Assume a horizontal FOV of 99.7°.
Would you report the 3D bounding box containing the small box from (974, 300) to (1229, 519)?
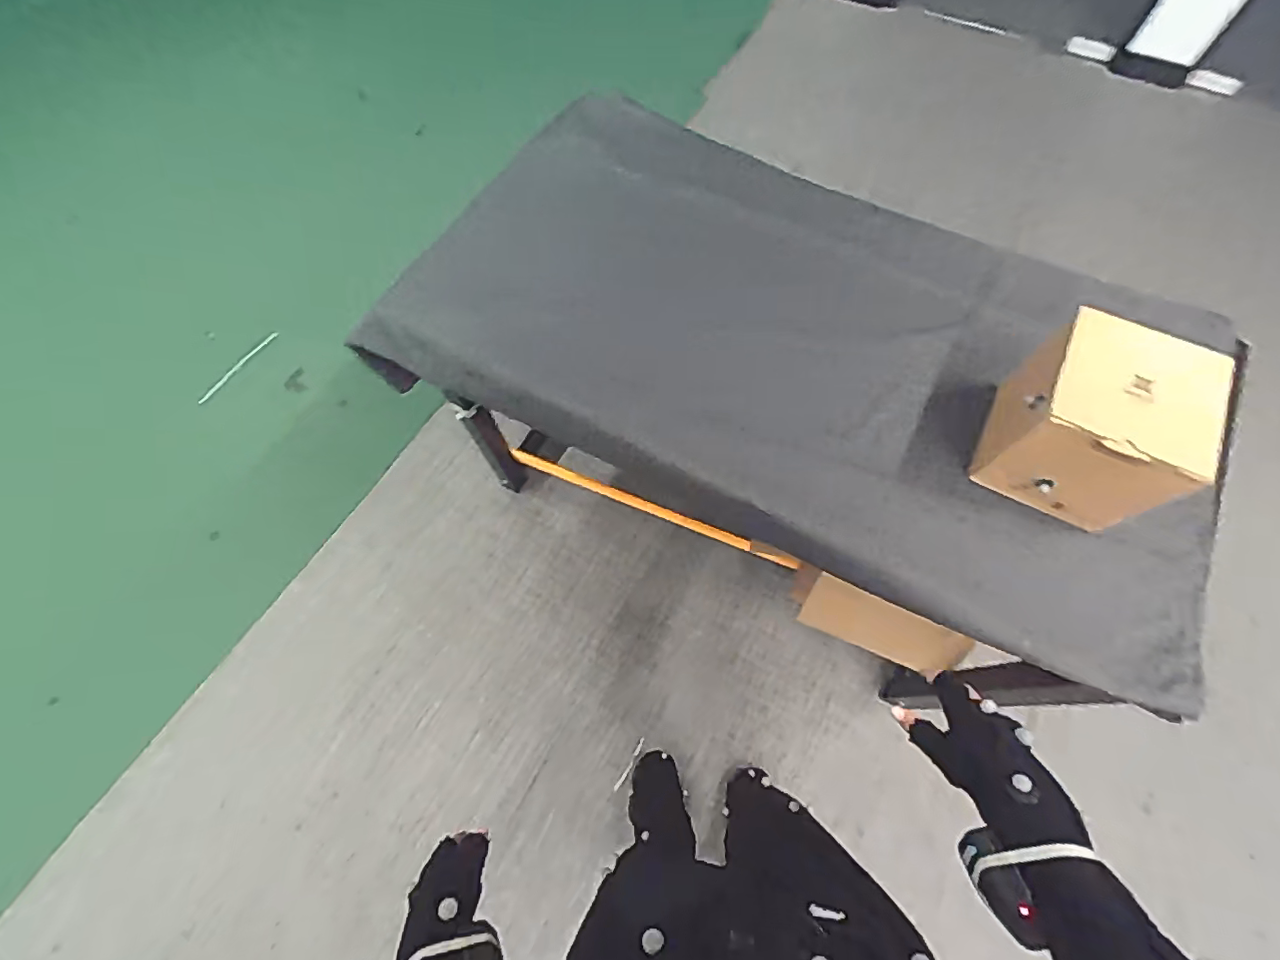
[{"bbox_3d":[0.556,-0.079,0.674,0.168,0.176,0.179,26,71,12],"label":"small box"}]
